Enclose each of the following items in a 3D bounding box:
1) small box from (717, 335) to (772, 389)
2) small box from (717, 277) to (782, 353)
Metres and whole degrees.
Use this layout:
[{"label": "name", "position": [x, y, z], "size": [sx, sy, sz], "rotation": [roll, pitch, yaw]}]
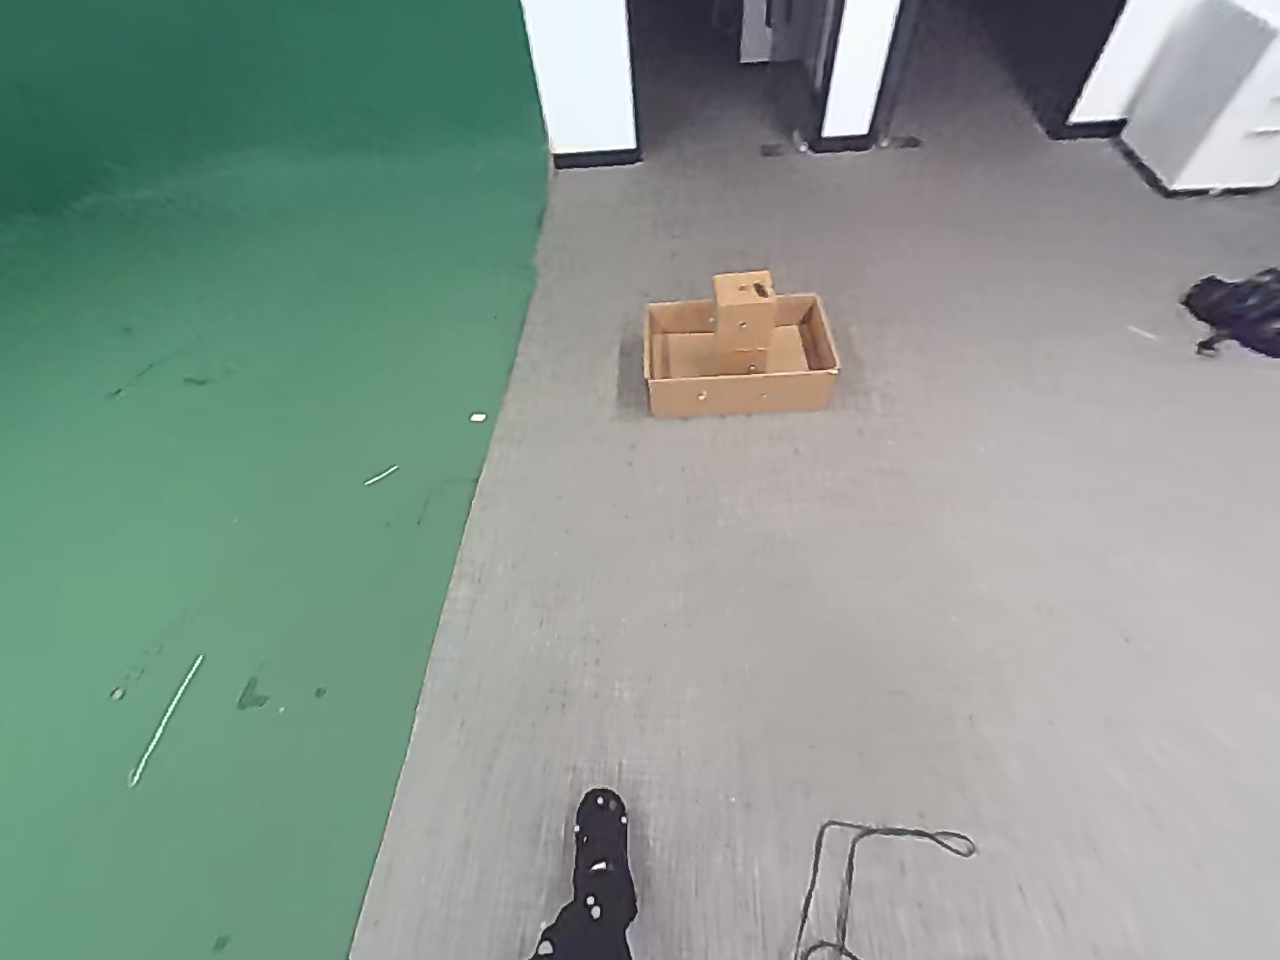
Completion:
[{"label": "small box", "position": [0.353, -0.424, 1.851], "size": [0.168, 0.176, 0.179], "rotation": [0, 53, 5]}, {"label": "small box", "position": [0.342, -0.521, 1.719], "size": [0.179, 0.176, 0.168], "rotation": [-2, 54, 4]}]
